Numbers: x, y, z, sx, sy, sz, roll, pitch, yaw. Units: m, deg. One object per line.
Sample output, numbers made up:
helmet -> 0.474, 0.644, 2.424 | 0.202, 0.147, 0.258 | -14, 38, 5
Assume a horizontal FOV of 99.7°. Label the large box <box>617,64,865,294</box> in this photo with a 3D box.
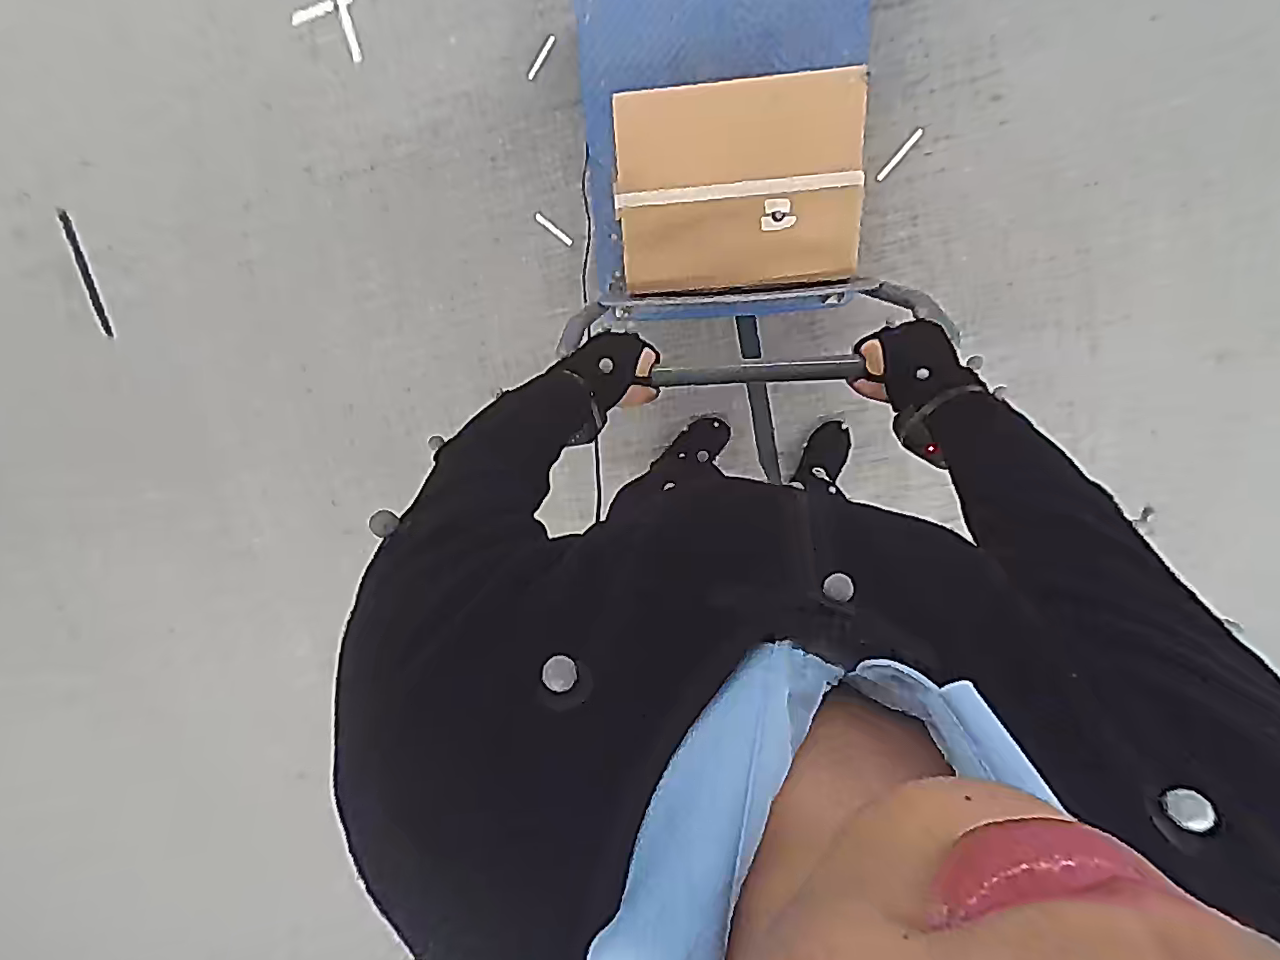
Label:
large box -> 0.183, -0.550, 1.061 | 0.408, 0.320, 0.320 | -3, 111, 6
